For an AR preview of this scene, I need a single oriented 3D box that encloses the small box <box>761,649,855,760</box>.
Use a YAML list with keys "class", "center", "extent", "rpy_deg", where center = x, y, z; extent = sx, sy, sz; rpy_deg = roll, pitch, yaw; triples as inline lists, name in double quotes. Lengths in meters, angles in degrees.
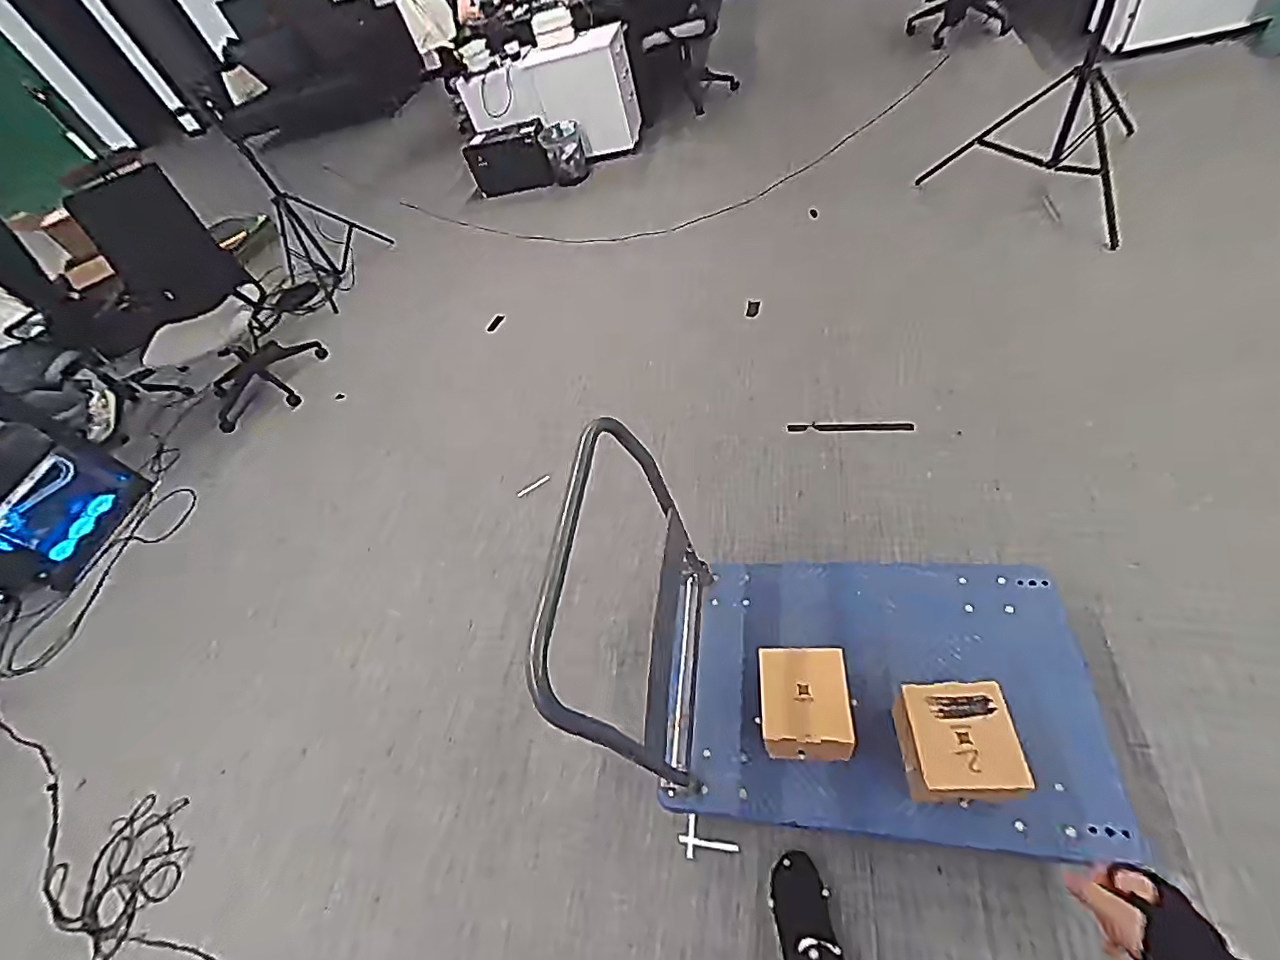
- class: "small box"
  center: [0.339, 0.461, 1.113]
  extent: [0.168, 0.176, 0.179]
  rpy_deg: [-5, 53, 13]
